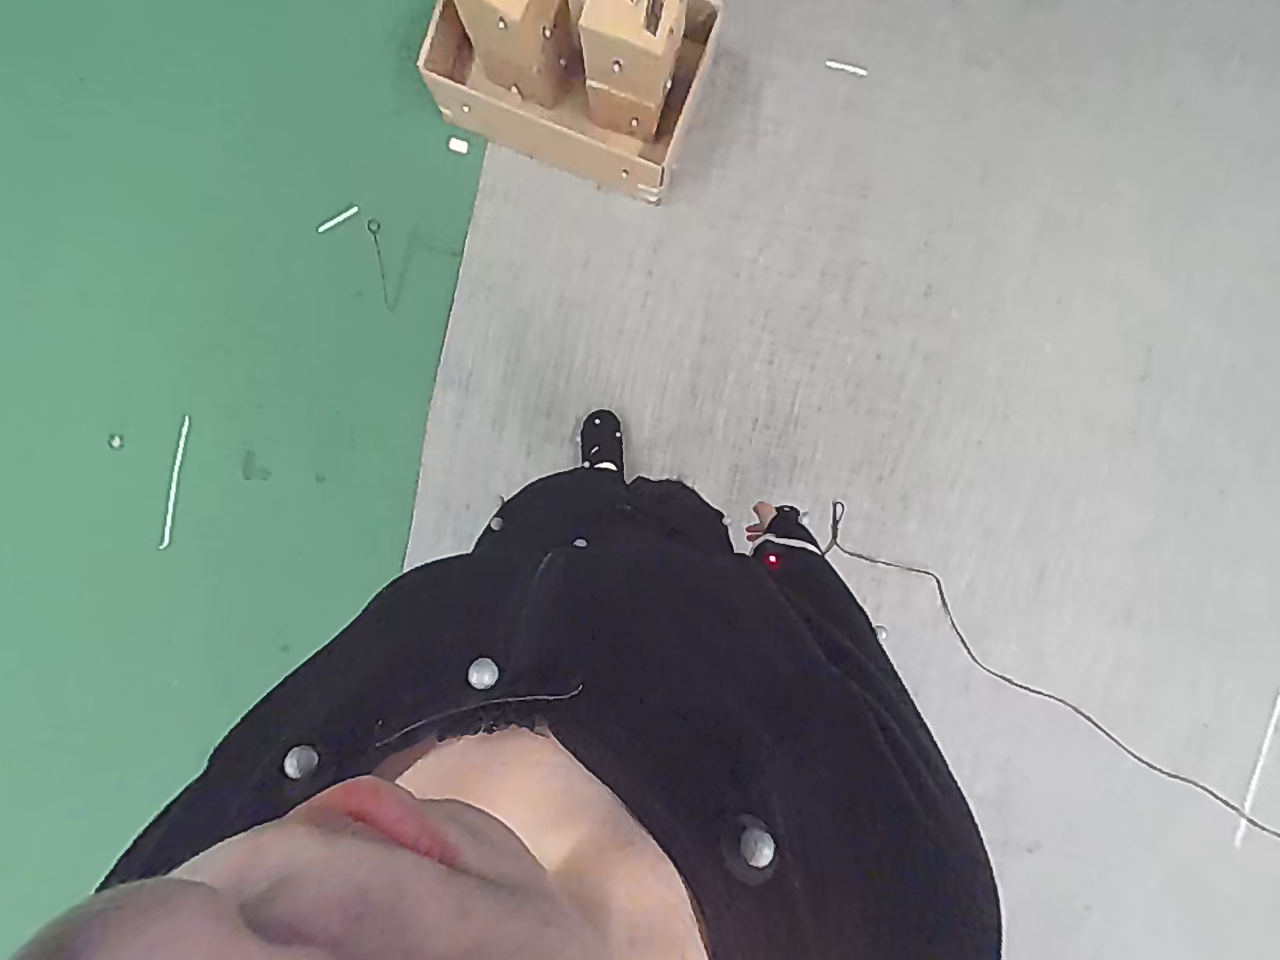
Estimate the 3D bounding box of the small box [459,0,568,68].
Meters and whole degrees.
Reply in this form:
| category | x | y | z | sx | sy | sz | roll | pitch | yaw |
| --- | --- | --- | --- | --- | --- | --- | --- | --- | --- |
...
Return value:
| category | x | y | z | sx | sy | sz | roll | pitch | yaw |
| --- | --- | --- | --- | --- | --- | --- | --- | --- | --- |
| small box | -0.267 | -1.016 | 1.122 | 0.179 | 0.176 | 0.168 | 31 | 94 | -5 |

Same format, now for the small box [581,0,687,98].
| category | x | y | z | sx | sy | sz | roll | pitch | yaw |
| --- | --- | --- | --- | --- | --- | --- | --- | --- | --- |
| small box | -0.006 | -0.943 | 1.126 | 0.179 | 0.176 | 0.168 | 20 | 95 | 0 |
